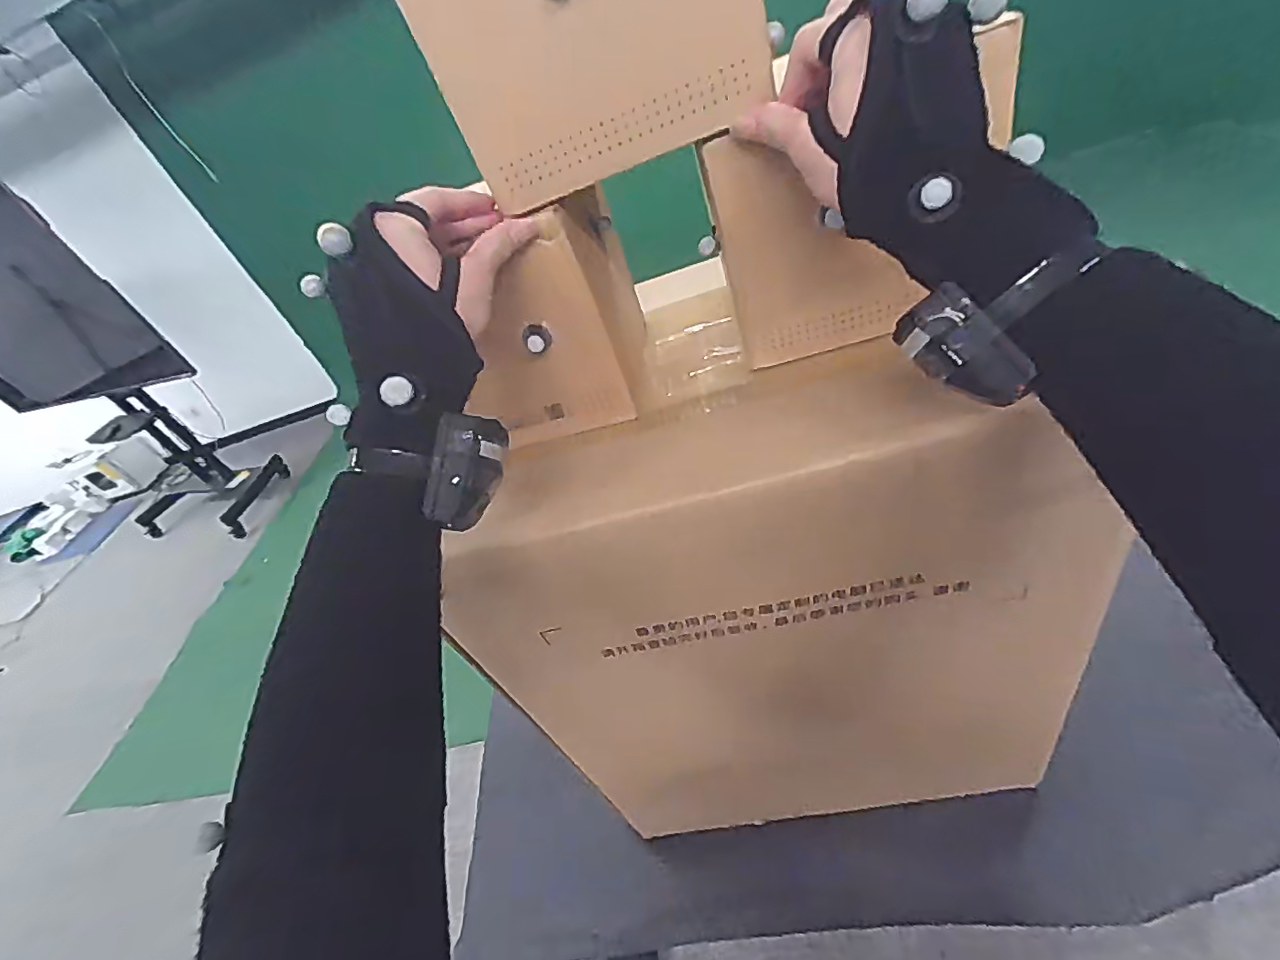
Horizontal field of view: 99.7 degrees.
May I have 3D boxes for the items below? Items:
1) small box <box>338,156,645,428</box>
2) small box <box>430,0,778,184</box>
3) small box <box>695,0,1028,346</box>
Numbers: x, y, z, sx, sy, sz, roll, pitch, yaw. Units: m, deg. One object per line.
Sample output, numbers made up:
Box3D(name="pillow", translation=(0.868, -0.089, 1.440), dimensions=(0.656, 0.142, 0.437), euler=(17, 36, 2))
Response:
Box3D(name="small box", translation=(-0.096, -0.158, 0.447), dimensions=(0.168, 0.176, 0.179), euler=(-11, 40, 11))
Box3D(name="small box", translation=(-0.025, -0.308, 0.322), dimensions=(0.179, 0.176, 0.168), euler=(-16, 39, 10))
Box3D(name="small box", translation=(0.150, -0.224, 0.405), dimensions=(0.179, 0.176, 0.168), euler=(-15, 40, 12))
